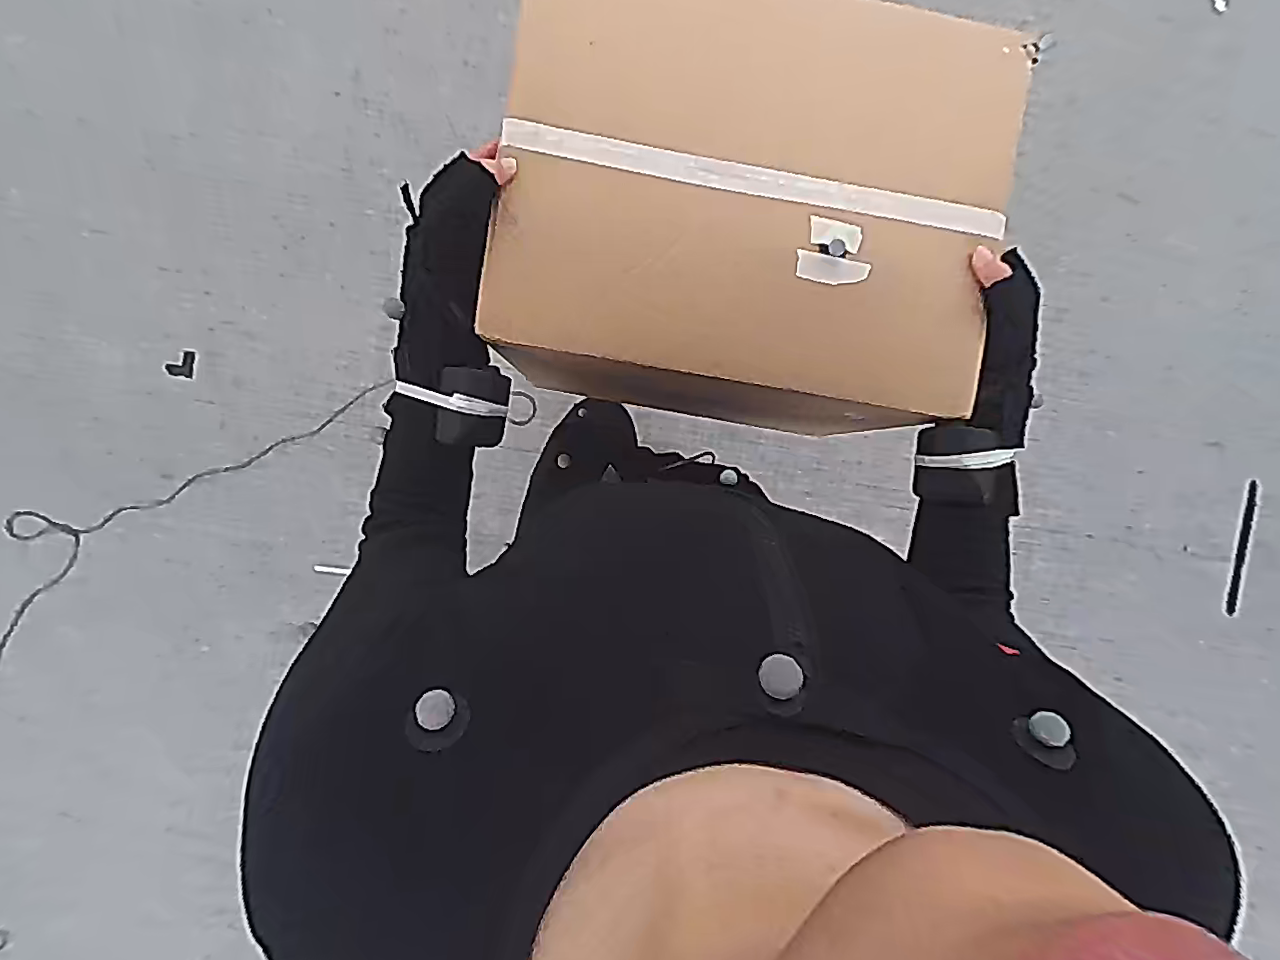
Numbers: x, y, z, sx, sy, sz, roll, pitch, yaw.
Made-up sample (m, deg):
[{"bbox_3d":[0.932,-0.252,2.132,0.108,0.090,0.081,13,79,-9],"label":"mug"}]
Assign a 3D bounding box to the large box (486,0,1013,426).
[{"bbox_3d":[0.081,-0.245,0.585,0.408,0.320,0.320,9,93,-4],"label":"large box"}]
